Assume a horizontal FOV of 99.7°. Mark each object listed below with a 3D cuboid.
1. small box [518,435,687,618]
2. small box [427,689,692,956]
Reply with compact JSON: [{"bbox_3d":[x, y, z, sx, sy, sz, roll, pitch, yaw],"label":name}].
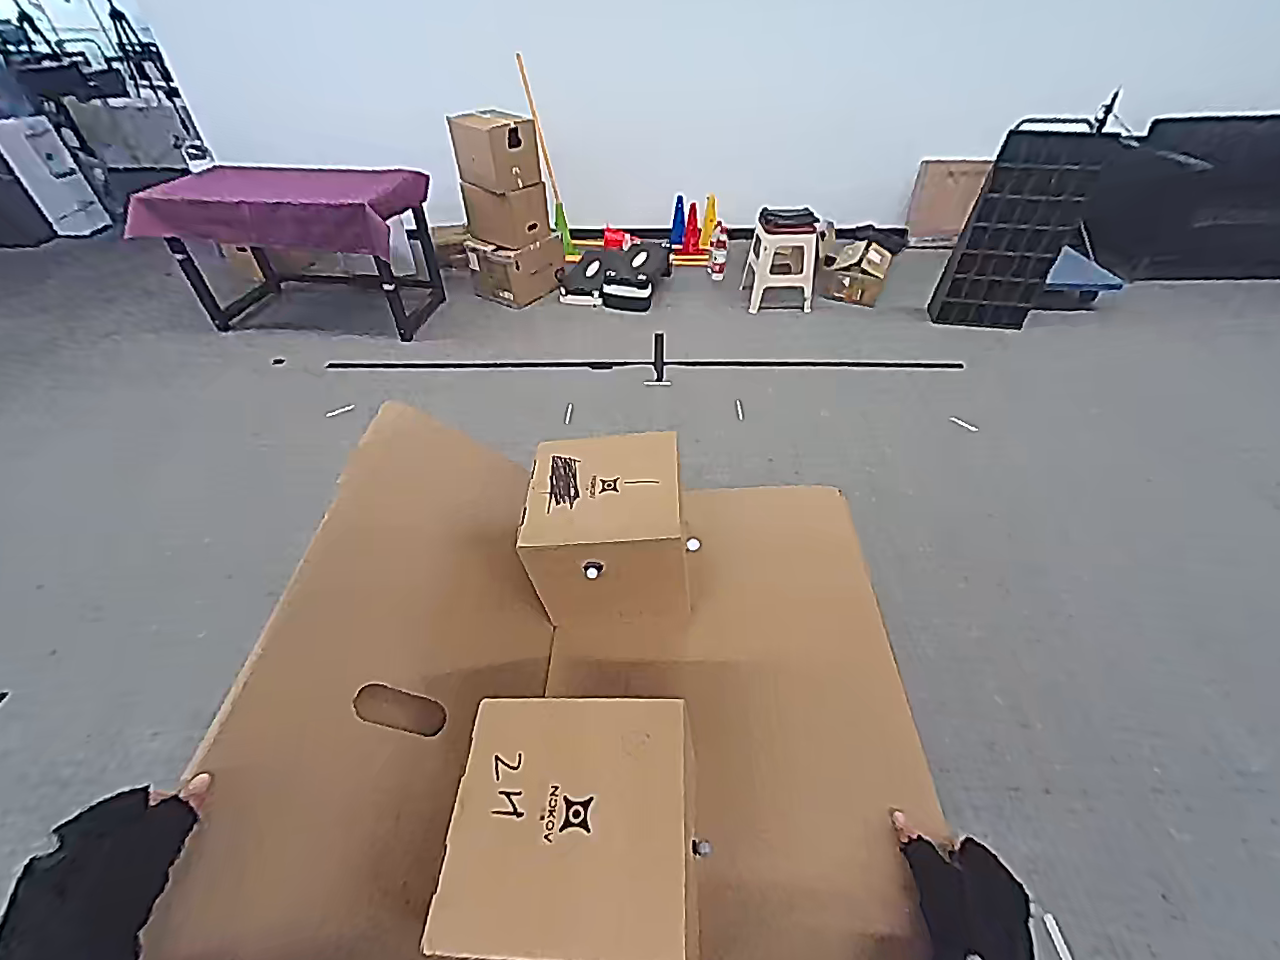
[{"bbox_3d":[-0.035,0.063,0.688,0.179,0.176,0.168,-4,47,6],"label":"small box"},{"bbox_3d":[-0.045,0.296,0.468,0.179,0.176,0.168,-2,47,8],"label":"small box"}]
